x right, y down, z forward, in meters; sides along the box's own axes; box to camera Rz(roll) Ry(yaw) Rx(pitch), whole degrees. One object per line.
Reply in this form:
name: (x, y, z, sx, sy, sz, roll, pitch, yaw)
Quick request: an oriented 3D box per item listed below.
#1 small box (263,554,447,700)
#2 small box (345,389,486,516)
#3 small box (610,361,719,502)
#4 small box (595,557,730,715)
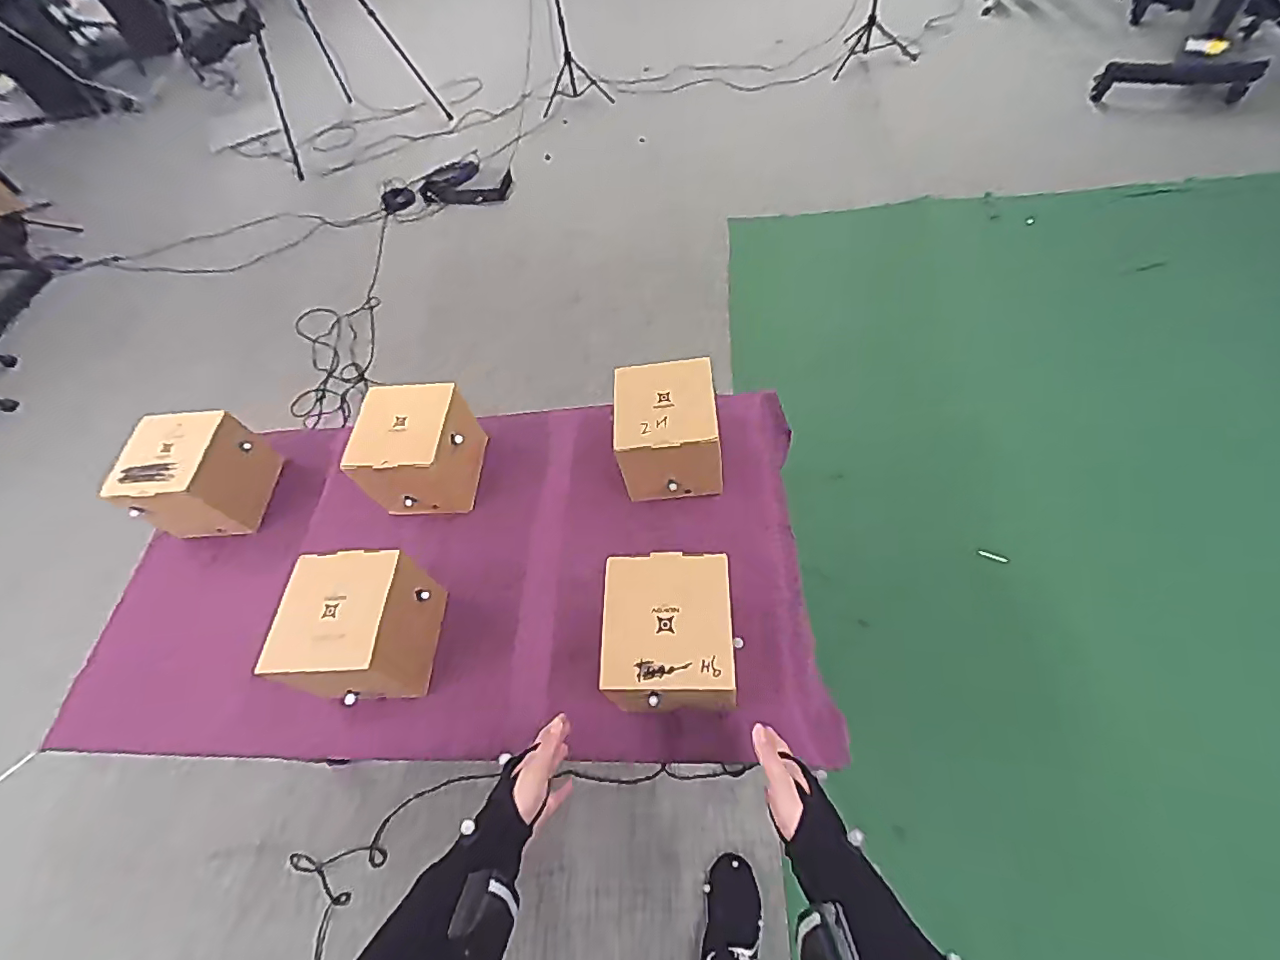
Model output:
small box: (-0.422, 0.231, 0.838, 0.168, 0.176, 0.179, -4, 57, 8)
small box: (-0.403, -0.047, 1.008, 0.168, 0.176, 0.179, -2, 60, 8)
small box: (0.047, -0.080, 0.947, 0.168, 0.176, 0.179, -6, 59, 9)
small box: (0.040, 0.222, 0.762, 0.168, 0.176, 0.179, -3, 58, 9)
